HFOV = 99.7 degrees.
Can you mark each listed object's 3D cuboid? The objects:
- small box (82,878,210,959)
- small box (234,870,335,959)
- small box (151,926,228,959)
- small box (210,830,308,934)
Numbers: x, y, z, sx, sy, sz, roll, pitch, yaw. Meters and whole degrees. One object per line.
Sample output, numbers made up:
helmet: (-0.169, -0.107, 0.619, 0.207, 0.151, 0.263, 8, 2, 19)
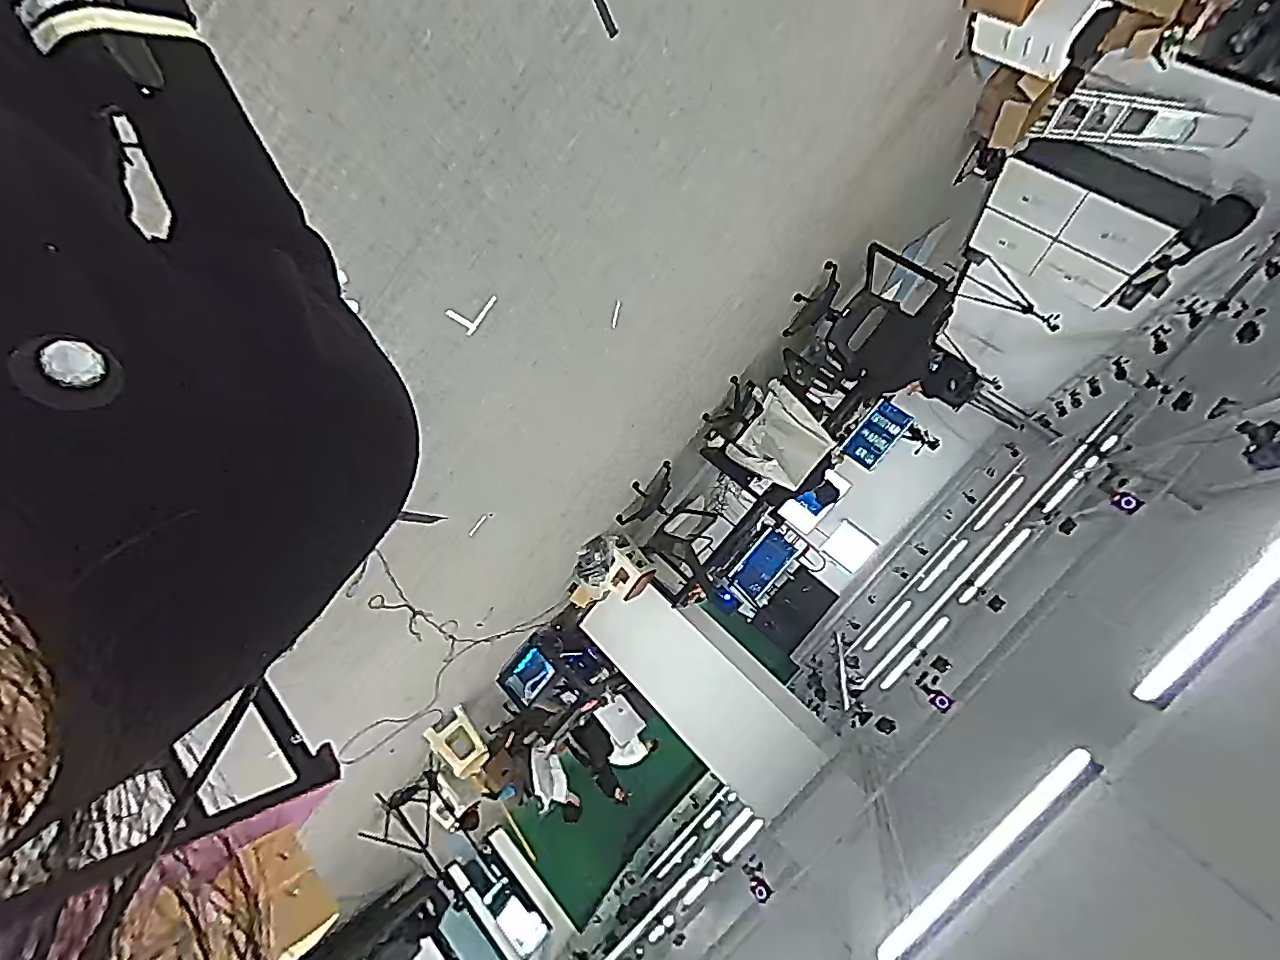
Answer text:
small box: (-1.297, 1.206, 1.421, 0.168, 0.176, 0.179, -51, 159, 8)
small box: (-1.086, 1.352, 1.647, 0.168, 0.176, 0.179, -52, 159, 11)
small box: (-1.174, 1.297, 1.365, 0.168, 0.176, 0.179, -52, 159, 5)
small box: (-1.199, 1.244, 1.697, 0.179, 0.176, 0.168, -51, 160, 9)
